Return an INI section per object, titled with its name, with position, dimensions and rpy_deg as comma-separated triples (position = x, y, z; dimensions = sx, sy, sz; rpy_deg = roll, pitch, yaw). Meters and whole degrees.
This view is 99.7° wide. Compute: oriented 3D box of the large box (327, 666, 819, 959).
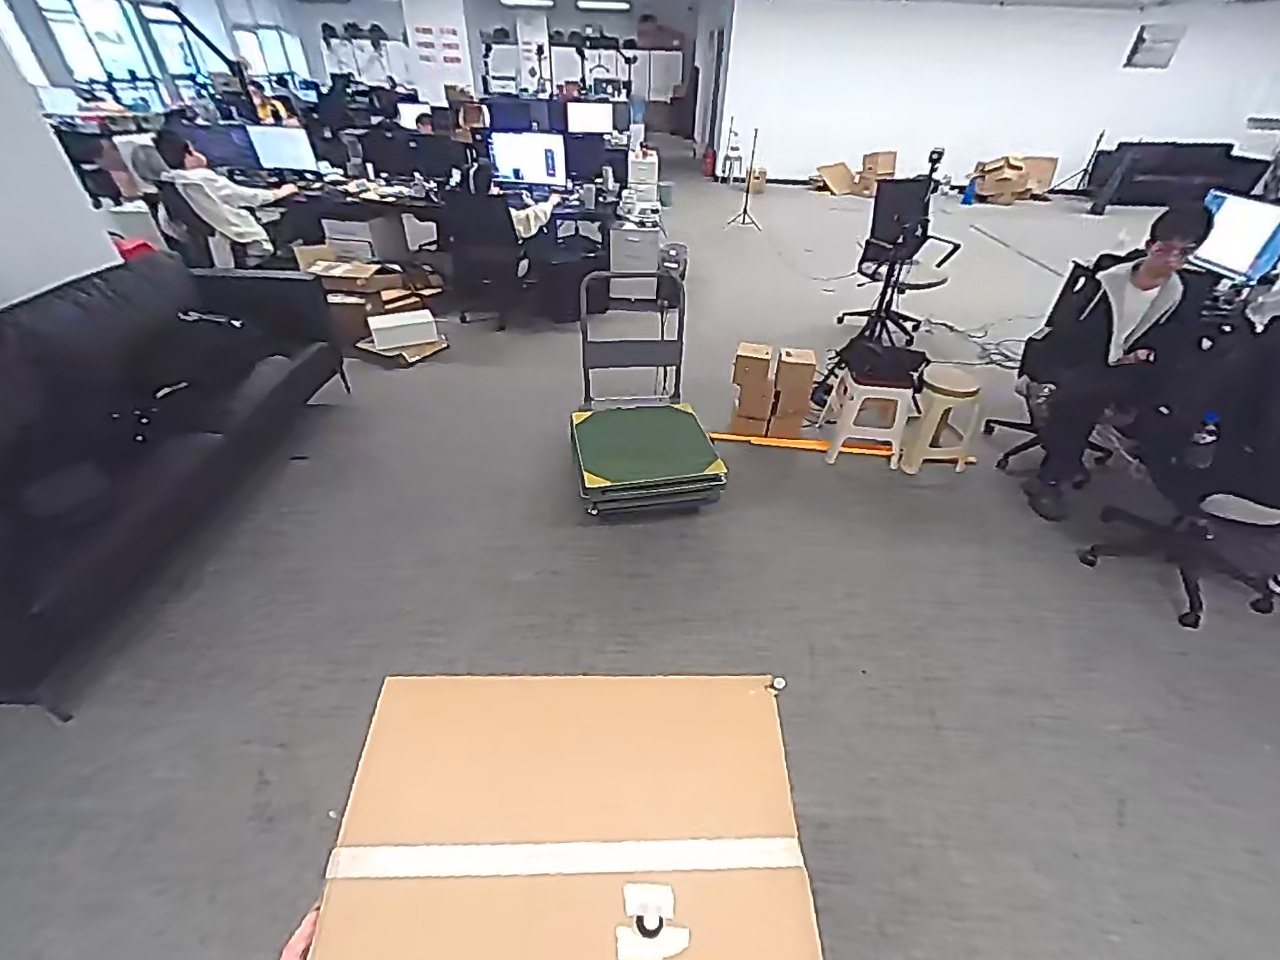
[large box]
position = -0.062, 0.417, 0.600
dimensions = 0.408, 0.320, 0.320
rpy_deg = 0, 52, -3
